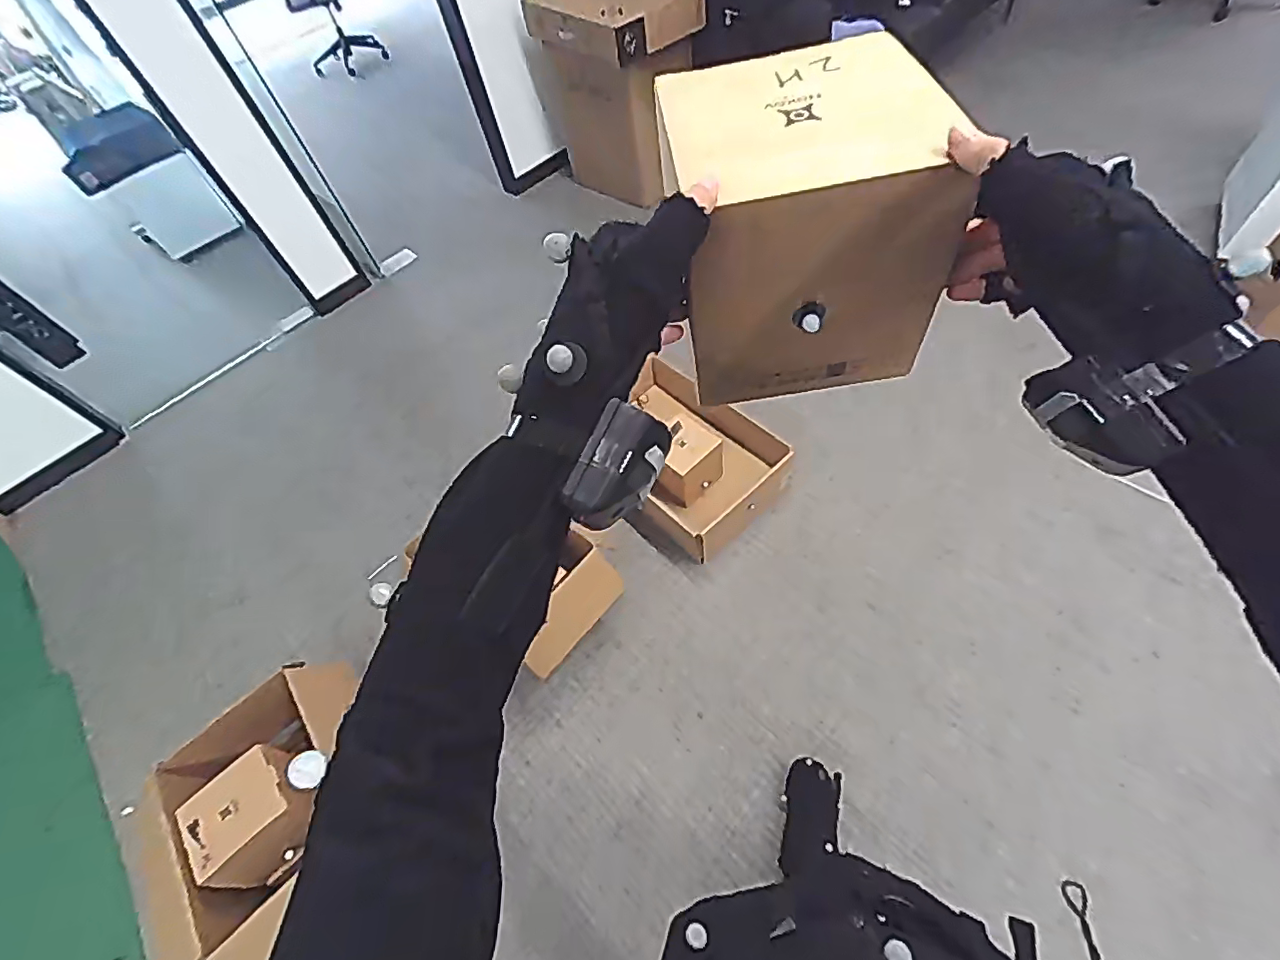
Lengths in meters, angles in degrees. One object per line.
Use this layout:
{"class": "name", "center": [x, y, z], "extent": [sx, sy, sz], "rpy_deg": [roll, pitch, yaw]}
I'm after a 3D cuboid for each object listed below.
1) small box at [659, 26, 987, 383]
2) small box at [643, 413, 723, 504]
{"class": "small box", "center": [0.112, -0.190, 0.405], "extent": [0.168, 0.176, 0.179], "rpy_deg": [-9, 56, 4]}
{"class": "small box", "center": [0.132, -0.060, 1.617], "extent": [0.168, 0.176, 0.179], "rpy_deg": [-40, 58, -18]}
